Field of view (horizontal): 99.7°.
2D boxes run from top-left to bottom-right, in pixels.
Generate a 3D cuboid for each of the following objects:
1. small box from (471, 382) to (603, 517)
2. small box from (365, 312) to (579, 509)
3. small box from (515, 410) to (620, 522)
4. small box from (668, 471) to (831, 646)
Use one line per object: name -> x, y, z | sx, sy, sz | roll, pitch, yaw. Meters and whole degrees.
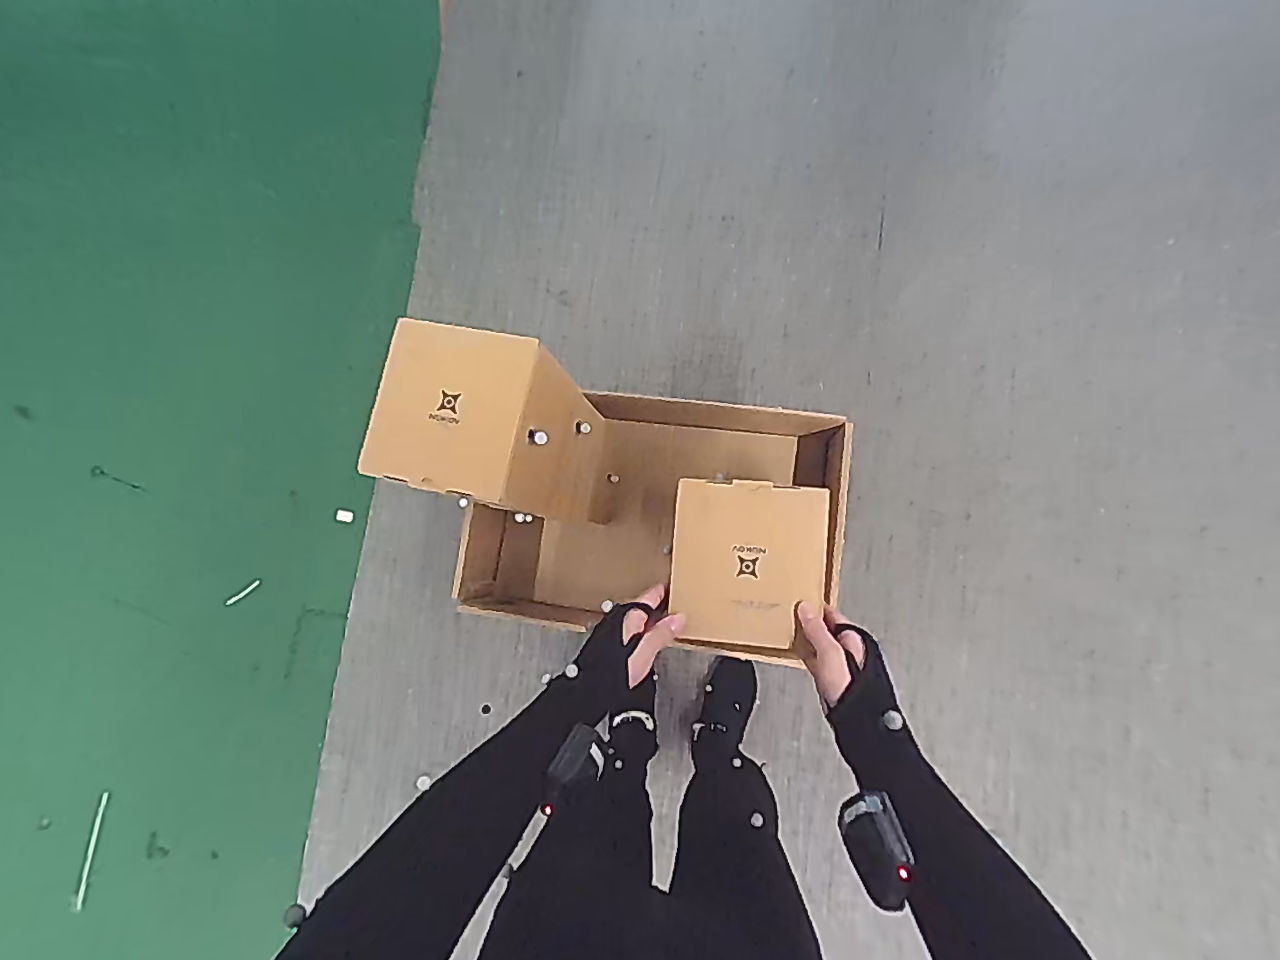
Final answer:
small box -> -0.161, -0.049, 0.800 | 0.168, 0.176, 0.179 | 11, 84, 11
small box -> -0.182, -0.071, 0.641 | 0.168, 0.176, 0.179 | 12, 85, 10
small box -> -0.138, -0.027, 0.960 | 0.168, 0.176, 0.179 | 8, 83, 11
small box -> 0.127, 0.090, 0.667 | 0.168, 0.176, 0.179 | 5, 86, 7
